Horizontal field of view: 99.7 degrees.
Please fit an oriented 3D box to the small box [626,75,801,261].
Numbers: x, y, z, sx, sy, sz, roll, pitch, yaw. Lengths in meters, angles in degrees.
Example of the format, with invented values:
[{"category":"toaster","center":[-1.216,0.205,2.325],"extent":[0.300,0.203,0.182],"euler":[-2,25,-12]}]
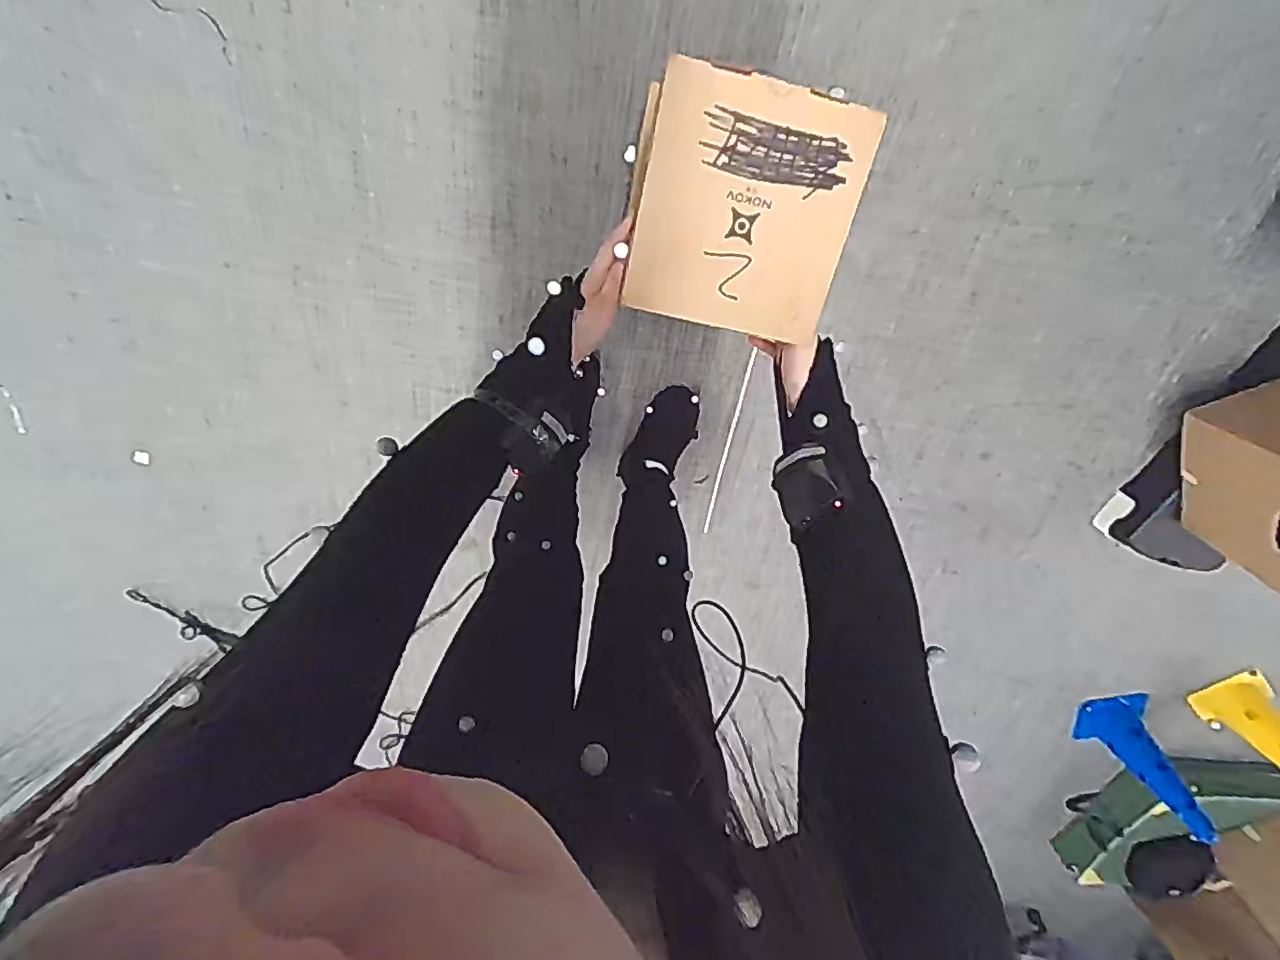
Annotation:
[{"category":"small box","center":[0.082,-0.405,0.711],"extent":[0.179,0.176,0.168],"euler":[9,122,-7]}]
